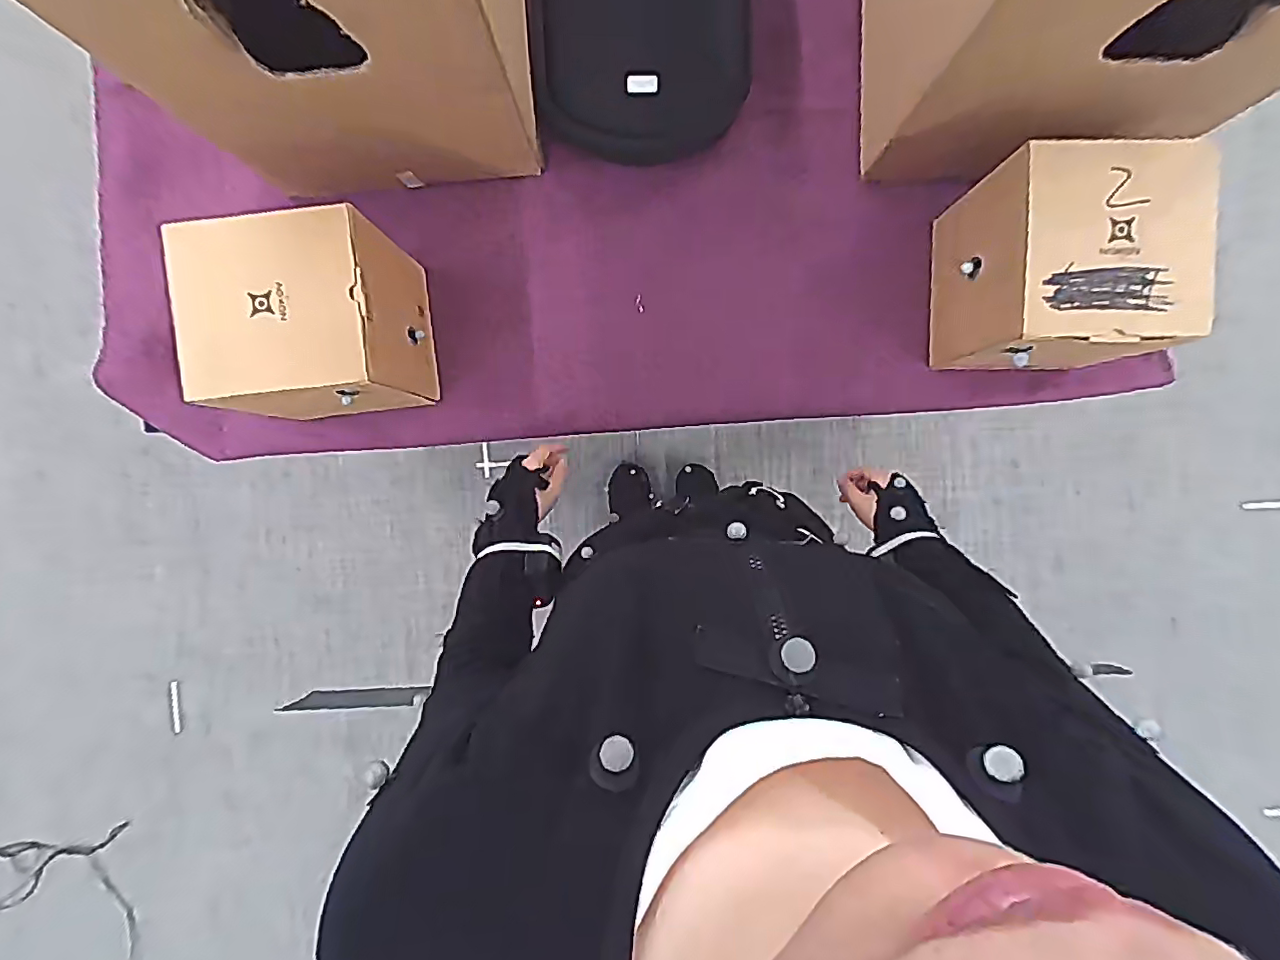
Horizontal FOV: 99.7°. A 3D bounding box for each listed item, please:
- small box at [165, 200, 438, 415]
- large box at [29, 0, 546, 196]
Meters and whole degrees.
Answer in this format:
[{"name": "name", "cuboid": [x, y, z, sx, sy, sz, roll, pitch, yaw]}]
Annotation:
[{"name": "small box", "cuboid": [-0.340, -0.167, 0.575, 0.179, 0.176, 0.168, -7, 91, 0]}, {"name": "large box", "cuboid": [-0.282, -0.542, 0.490, 0.320, 0.320, 0.408, -6, 95, 2]}]
